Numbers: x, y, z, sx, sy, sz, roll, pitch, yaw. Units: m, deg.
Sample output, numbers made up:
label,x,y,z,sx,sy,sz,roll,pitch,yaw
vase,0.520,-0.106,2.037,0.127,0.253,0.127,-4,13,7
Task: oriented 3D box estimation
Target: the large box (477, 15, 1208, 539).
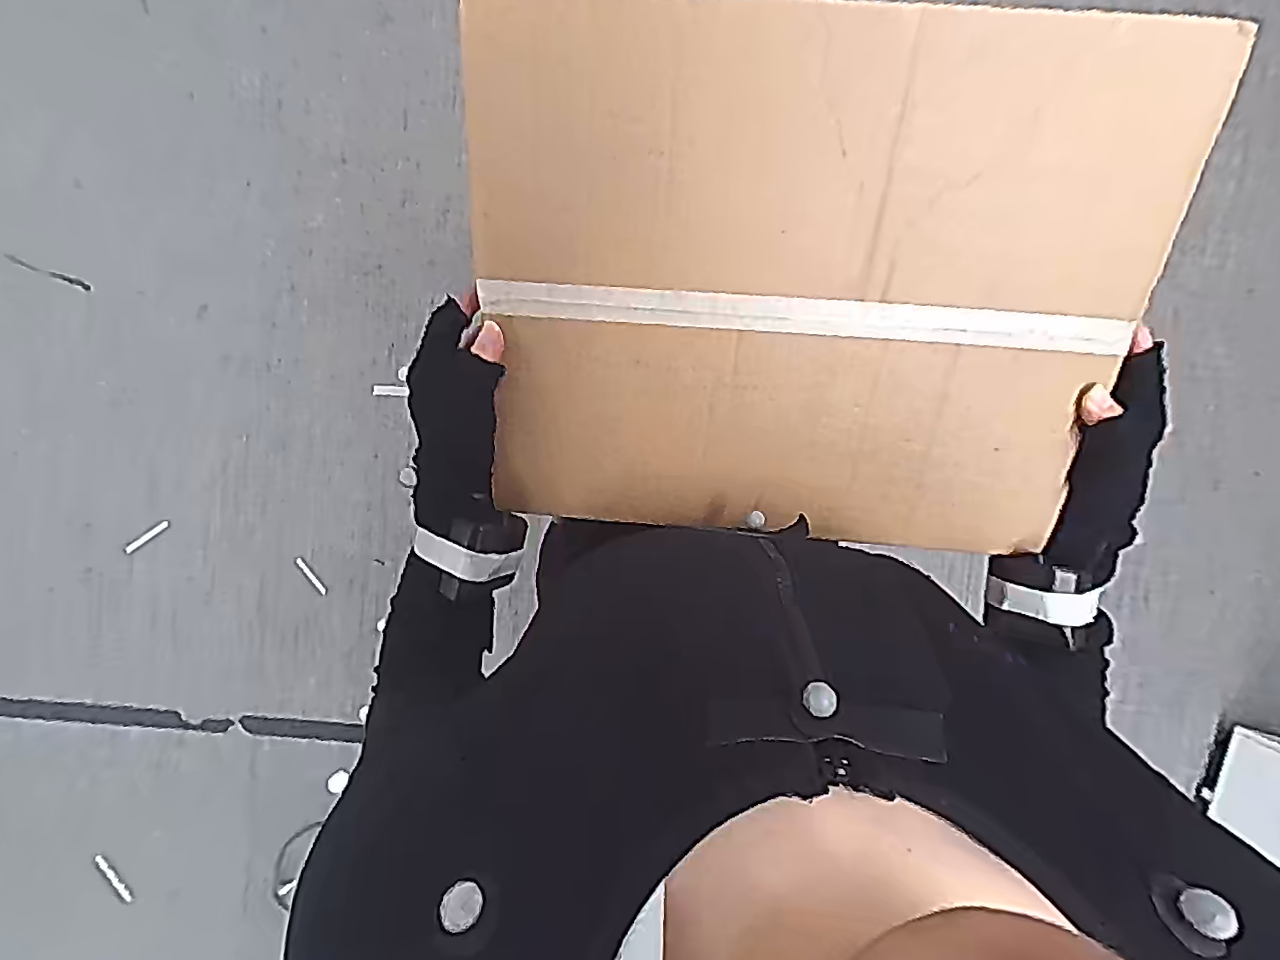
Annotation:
label,x,y,z,sx,sy,sz,roll,pitch,yaw
large box,0.107,-0.166,0.490,0.408,0.320,0.320,4,116,2
